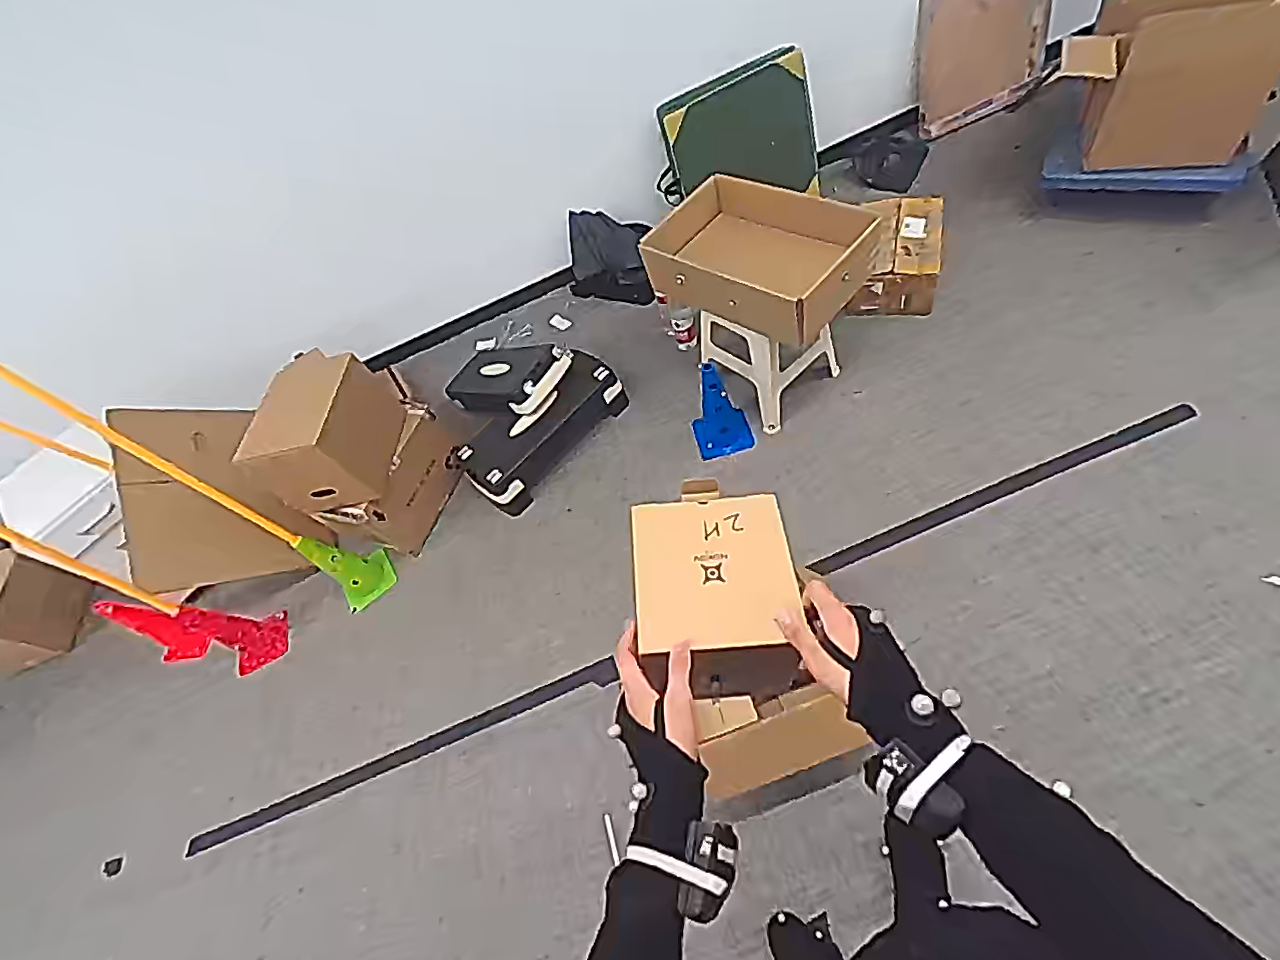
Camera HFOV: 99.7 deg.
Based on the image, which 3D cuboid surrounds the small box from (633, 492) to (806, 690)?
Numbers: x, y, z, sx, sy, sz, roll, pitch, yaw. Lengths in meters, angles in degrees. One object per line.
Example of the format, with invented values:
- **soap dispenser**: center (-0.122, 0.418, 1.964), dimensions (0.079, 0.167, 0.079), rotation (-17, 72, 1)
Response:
- **small box**: center (0.083, 0.137, 0.634), dimensions (0.168, 0.176, 0.179), rotation (-5, 52, 1)
